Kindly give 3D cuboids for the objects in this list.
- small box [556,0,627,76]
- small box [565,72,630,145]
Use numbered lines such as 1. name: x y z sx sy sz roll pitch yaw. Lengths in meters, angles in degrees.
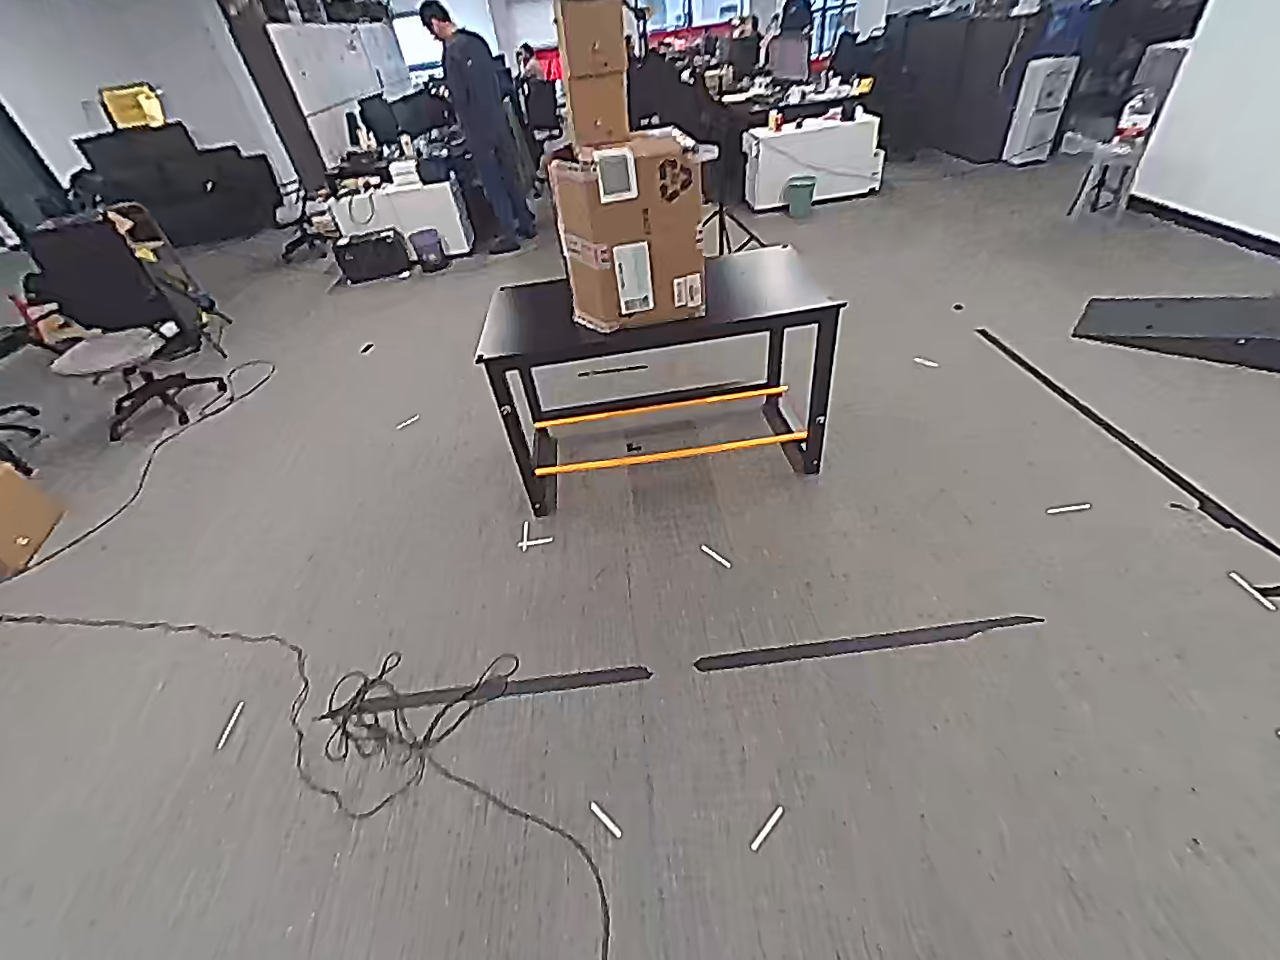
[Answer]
1. small box: -0.137 -1.246 1.522 0.168 0.176 0.179 -12 39 -6
2. small box: -0.130 -1.122 1.631 0.168 0.176 0.179 -11 39 -5
